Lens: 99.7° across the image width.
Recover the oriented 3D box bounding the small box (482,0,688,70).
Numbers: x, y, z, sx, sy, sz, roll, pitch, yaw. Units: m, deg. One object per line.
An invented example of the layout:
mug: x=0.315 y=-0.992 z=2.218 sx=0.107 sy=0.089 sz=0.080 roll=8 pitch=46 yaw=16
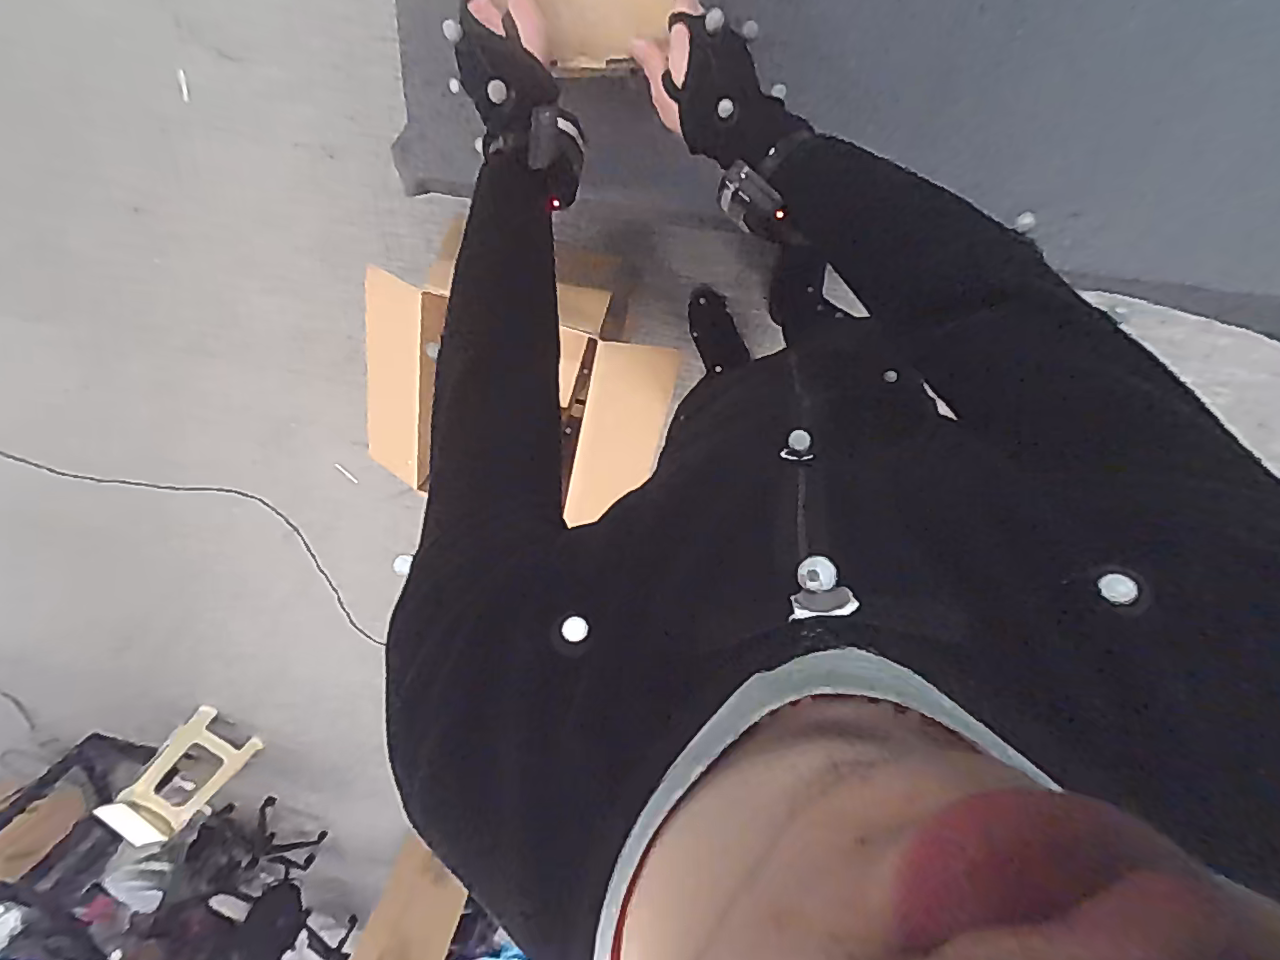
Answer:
small box: x=-0.043 y=-0.490 z=0.495 sx=0.168 sy=0.176 sz=0.179 roll=4 pitch=123 yaw=8
